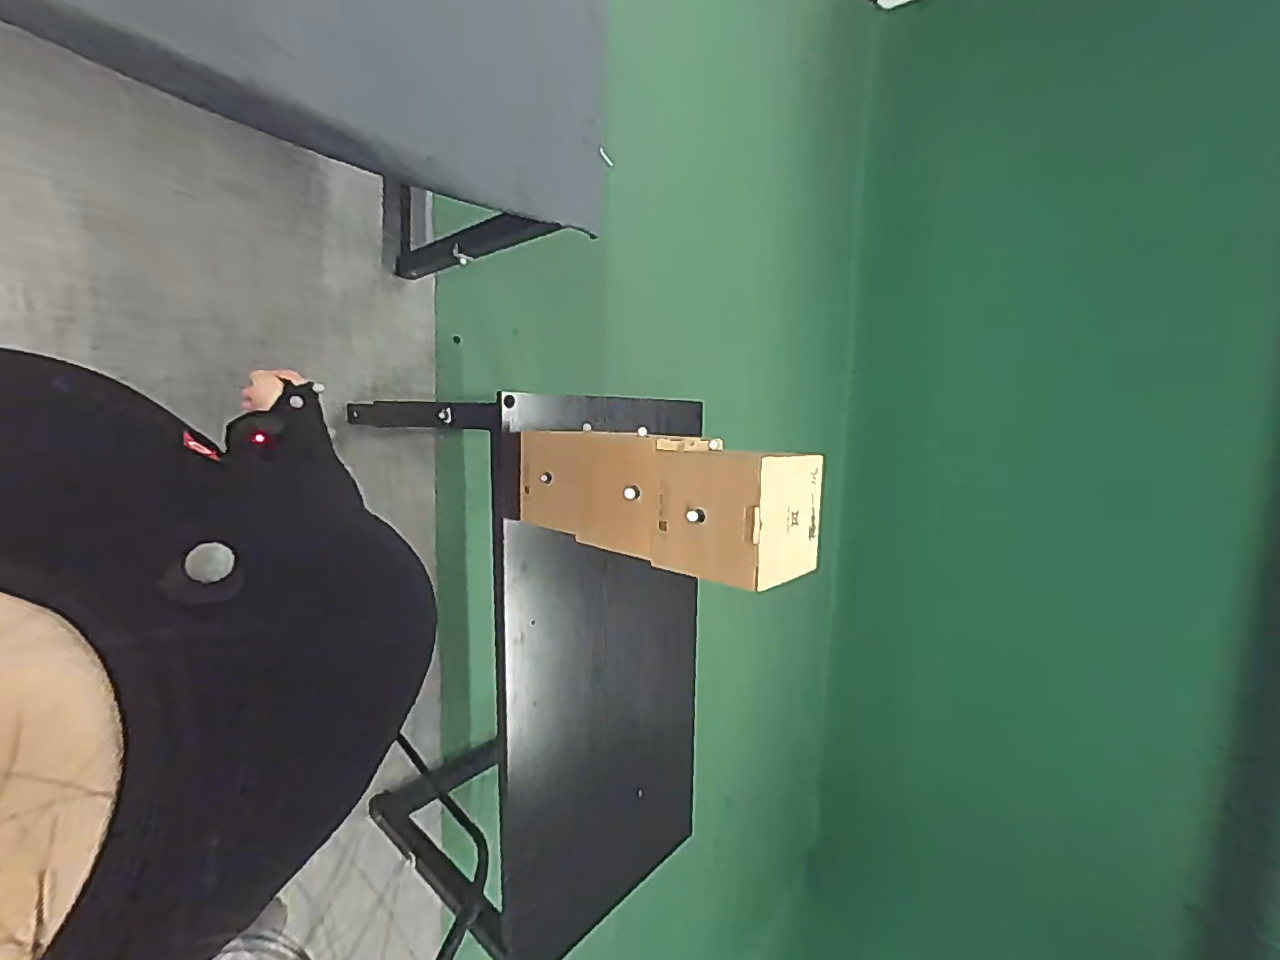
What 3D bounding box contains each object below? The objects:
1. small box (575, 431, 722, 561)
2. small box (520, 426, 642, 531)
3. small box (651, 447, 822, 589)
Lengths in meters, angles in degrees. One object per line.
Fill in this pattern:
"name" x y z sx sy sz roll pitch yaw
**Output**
"small box" 0.010 0.015 0.857 0.168 0.176 0.179 -5 100 -48
"small box" -0.099 -0.009 0.975 0.179 0.176 0.168 -6 101 -48
"small box" 0.131 0.042 0.749 0.179 0.176 0.168 -3 98 -47
